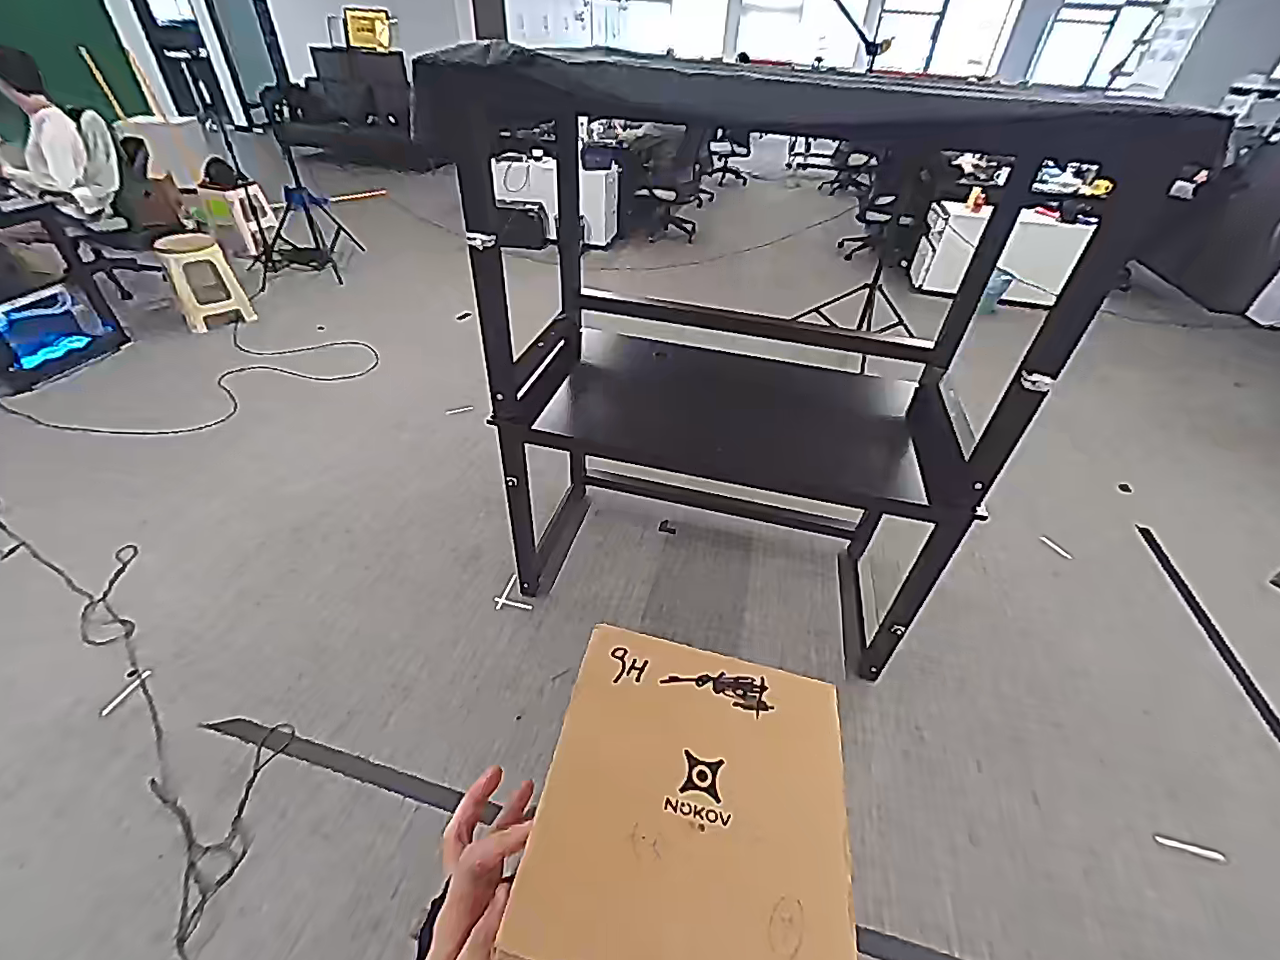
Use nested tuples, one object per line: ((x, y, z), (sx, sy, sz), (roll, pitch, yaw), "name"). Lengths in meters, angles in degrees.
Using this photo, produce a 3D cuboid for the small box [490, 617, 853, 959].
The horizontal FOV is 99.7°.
((0.021, 0.223, 0.346), (0.168, 0.176, 0.179), (14, 43, 4), "small box")
